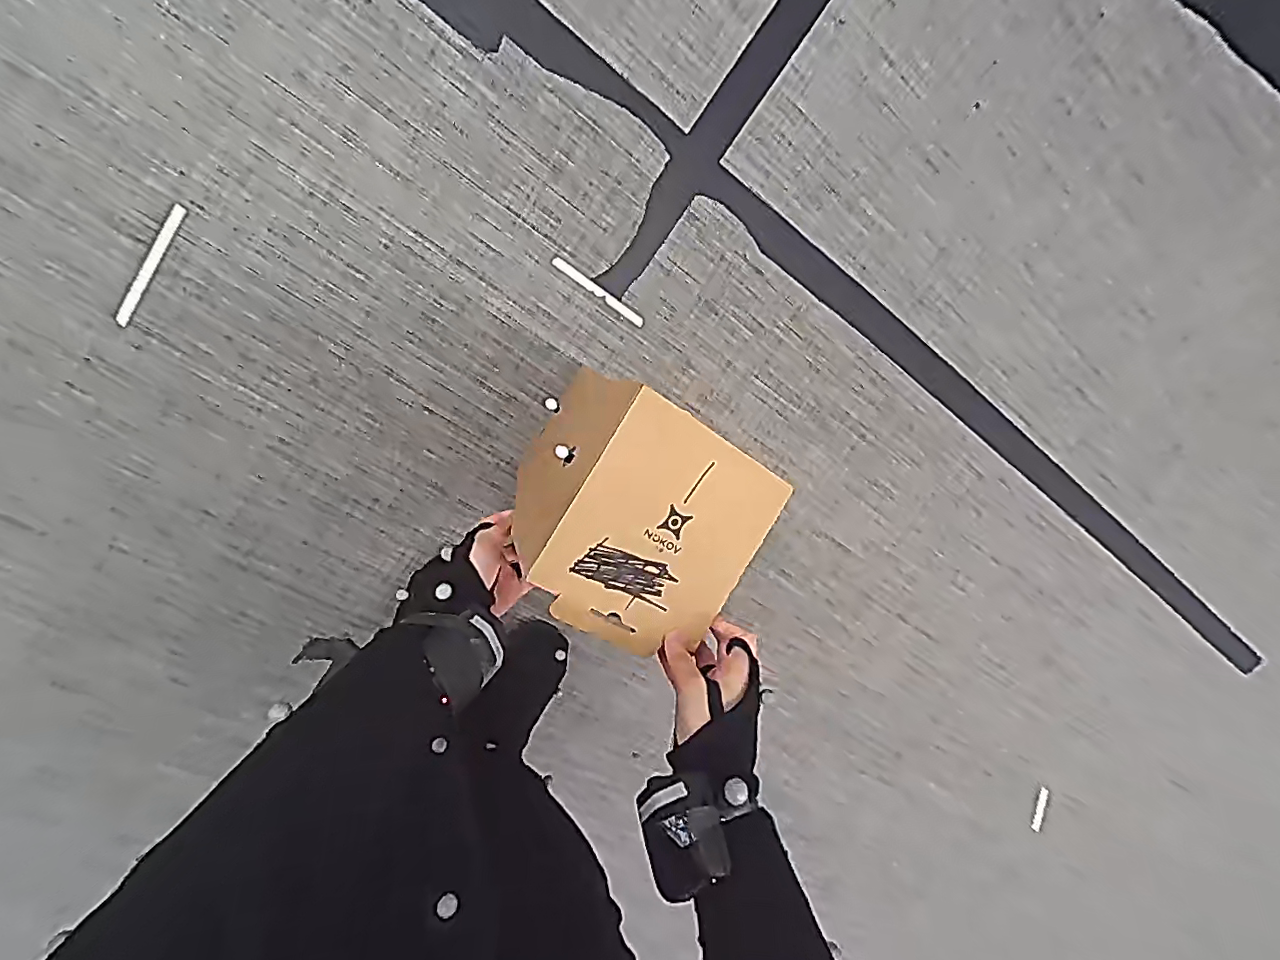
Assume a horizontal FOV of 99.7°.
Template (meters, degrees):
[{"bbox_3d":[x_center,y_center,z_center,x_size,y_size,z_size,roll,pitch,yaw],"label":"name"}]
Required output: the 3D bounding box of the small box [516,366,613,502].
[{"bbox_3d":[-0.034,-0.025,0.668,0.179,0.176,0.168,32,99,-19],"label":"small box"}]

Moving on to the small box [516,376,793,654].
[{"bbox_3d":[-0.002,0.021,0.502,0.168,0.176,0.179,32,90,-21],"label":"small box"}]
